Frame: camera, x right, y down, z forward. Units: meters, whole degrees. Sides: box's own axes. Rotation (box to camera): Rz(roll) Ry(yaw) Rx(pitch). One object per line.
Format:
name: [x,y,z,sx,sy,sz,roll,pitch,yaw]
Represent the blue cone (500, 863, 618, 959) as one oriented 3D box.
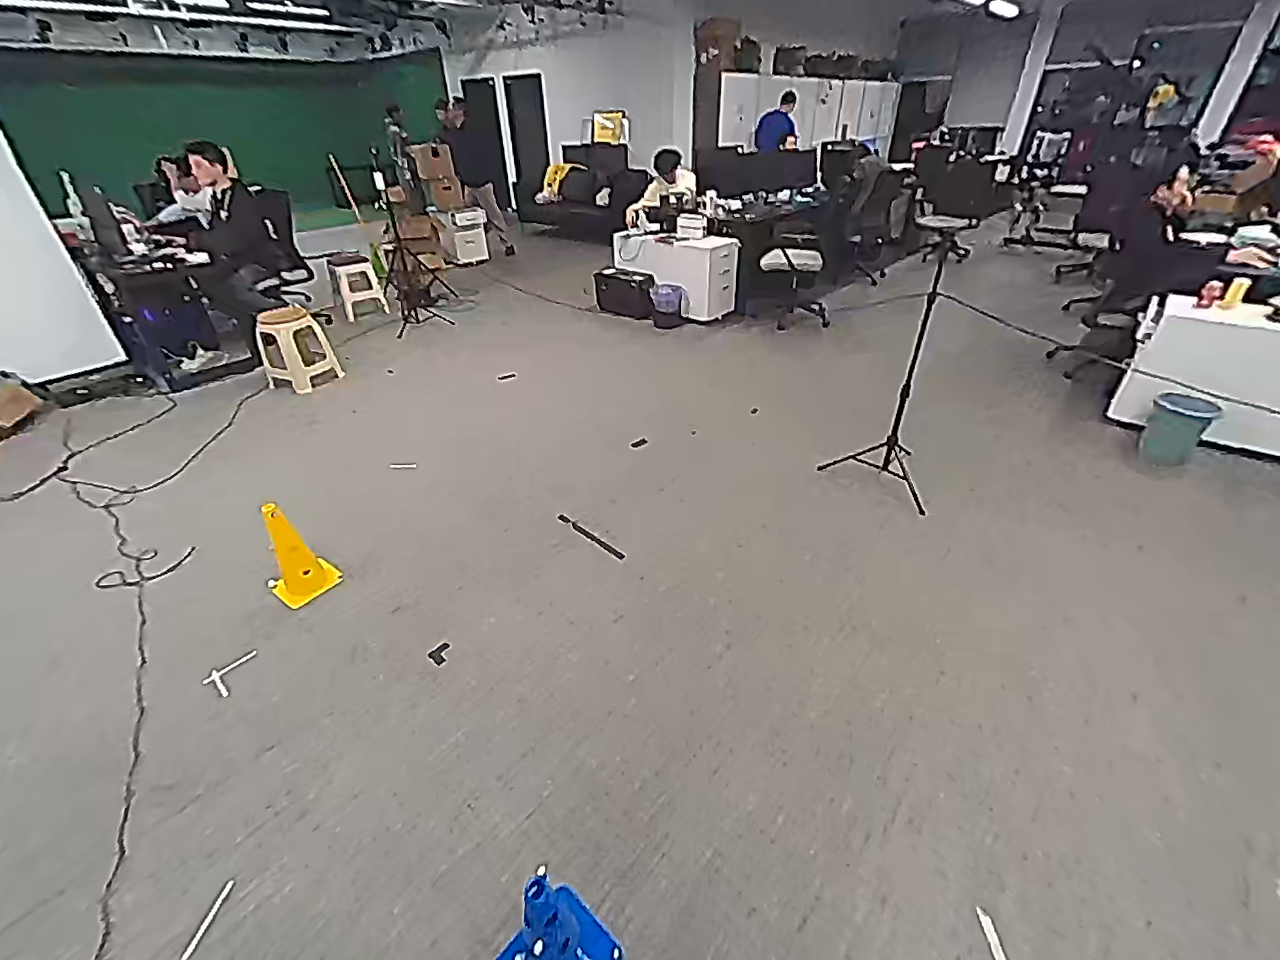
blue cone: [-0.169,0.827,1.009,0.193,0.380,0.192,27,42,36]
